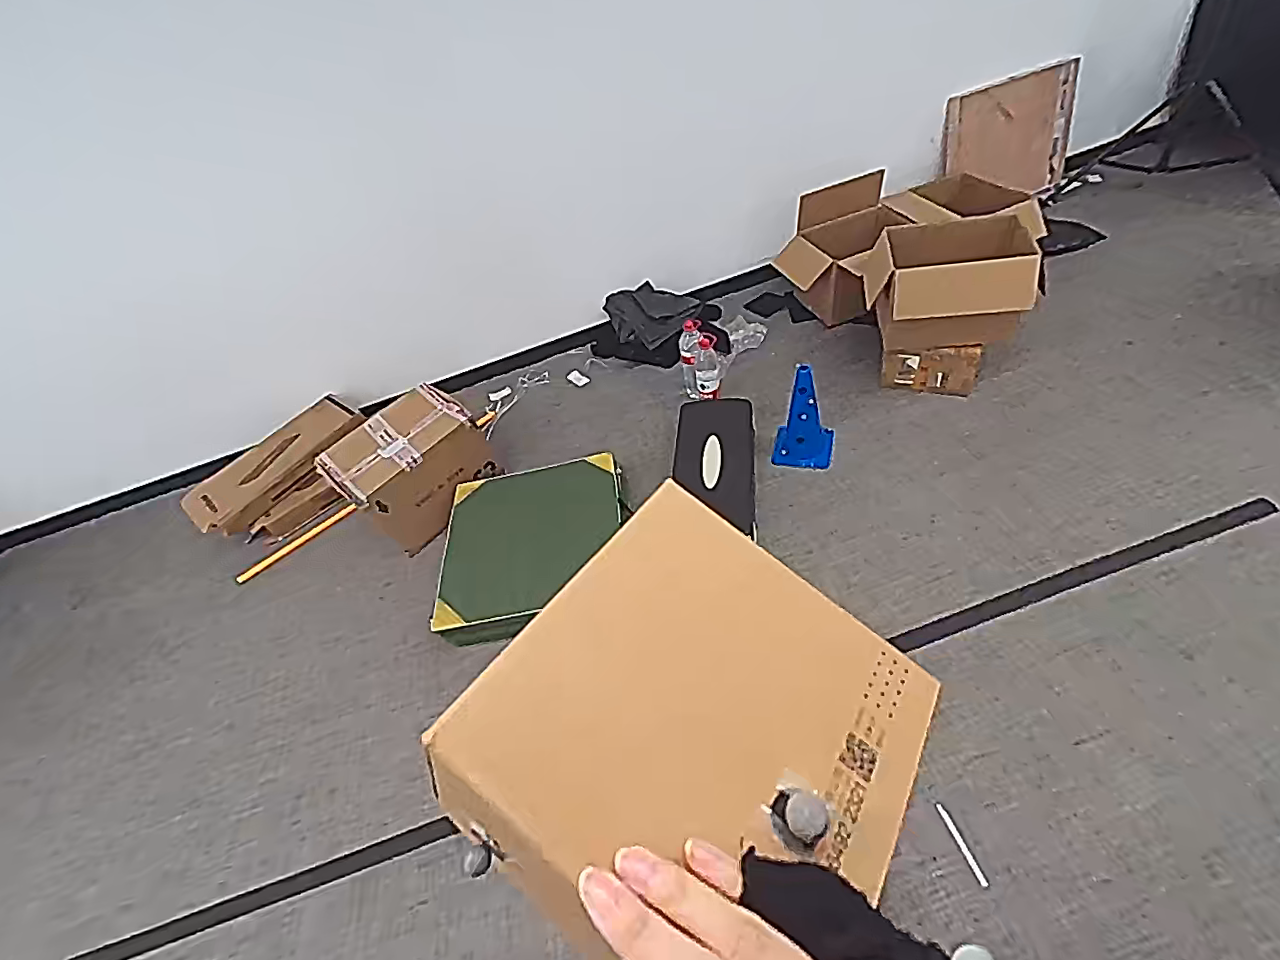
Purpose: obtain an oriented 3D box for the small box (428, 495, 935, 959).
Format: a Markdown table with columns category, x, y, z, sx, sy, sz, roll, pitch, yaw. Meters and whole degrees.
| category | x | y | z | sx | sy | sz | roll | pitch | yaw |
| --- | --- | --- | --- | --- | --- | --- | --- | --- | --- |
| small box | 0.014 | 0.149 | 0.290 | 0.176 | 0.179 | 0.168 | 36 | 52 | 10 |
